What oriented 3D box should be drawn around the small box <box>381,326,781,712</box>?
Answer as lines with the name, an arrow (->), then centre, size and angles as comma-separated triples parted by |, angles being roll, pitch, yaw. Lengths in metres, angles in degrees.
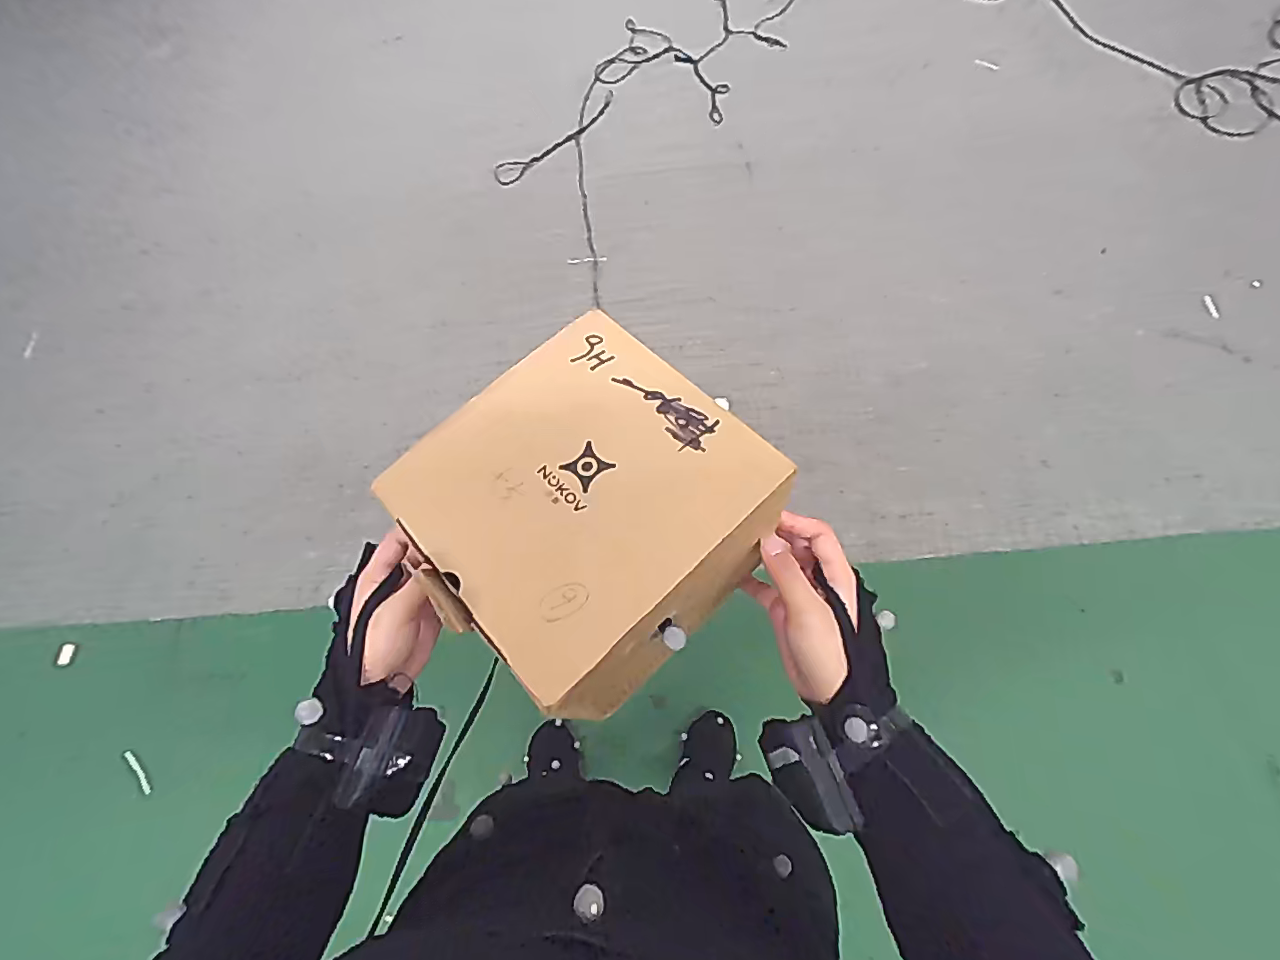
small box -> -0.028, 0.039, 0.375 | 0.179, 0.176, 0.168 | -42, 68, -13
